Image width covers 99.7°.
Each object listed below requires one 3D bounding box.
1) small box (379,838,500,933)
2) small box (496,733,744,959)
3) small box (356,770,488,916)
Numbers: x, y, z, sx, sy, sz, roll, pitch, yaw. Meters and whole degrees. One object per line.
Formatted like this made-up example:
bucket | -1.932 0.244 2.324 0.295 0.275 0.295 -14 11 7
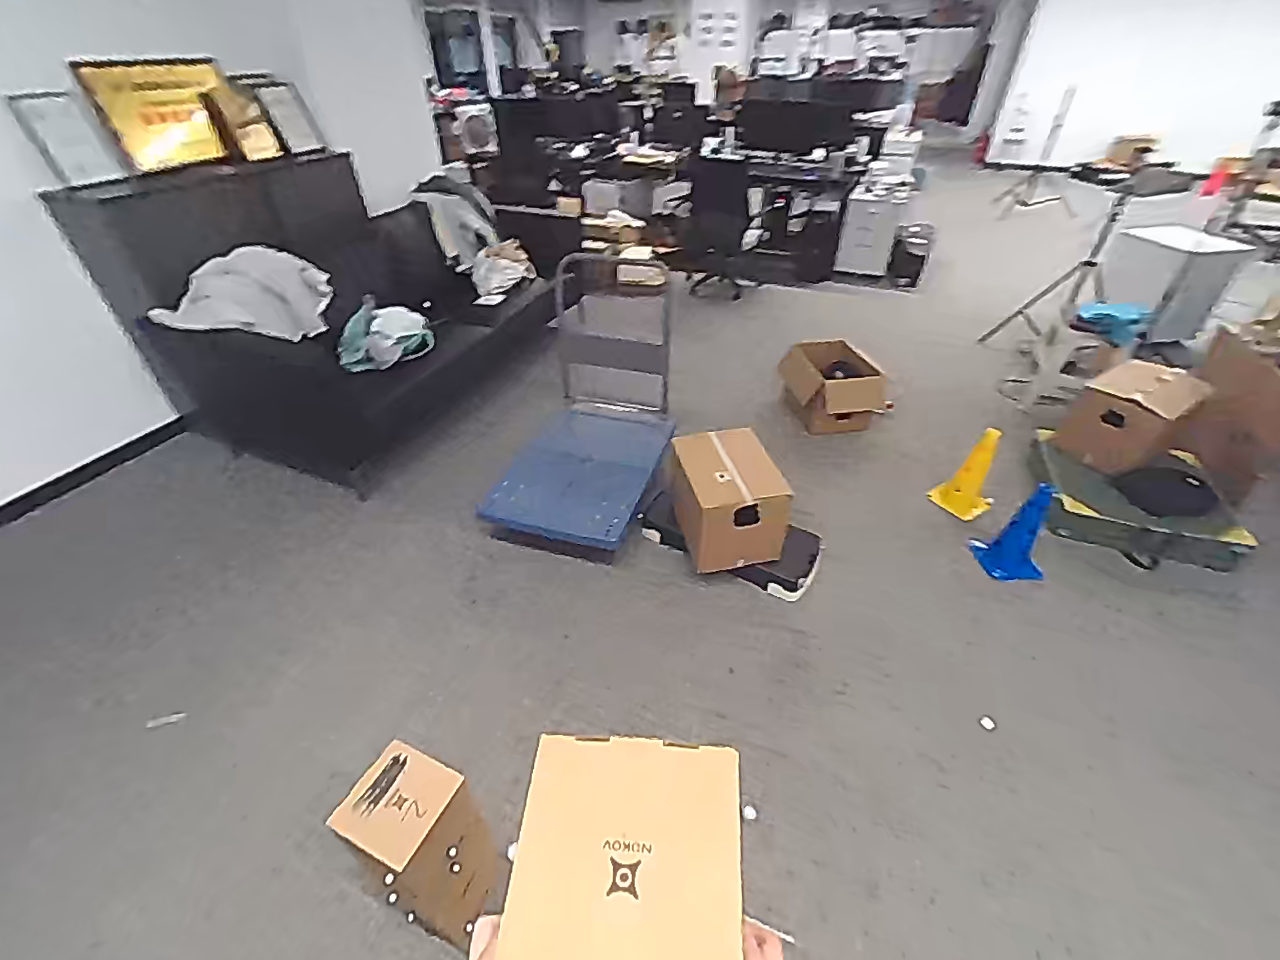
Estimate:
small box | -0.441 0.876 1.218 0.179 0.176 0.168 15 42 20
small box | -0.002 0.329 0.442 0.168 0.176 0.179 0 47 6
small box | -0.435 0.749 1.114 0.168 0.176 0.179 17 42 19
